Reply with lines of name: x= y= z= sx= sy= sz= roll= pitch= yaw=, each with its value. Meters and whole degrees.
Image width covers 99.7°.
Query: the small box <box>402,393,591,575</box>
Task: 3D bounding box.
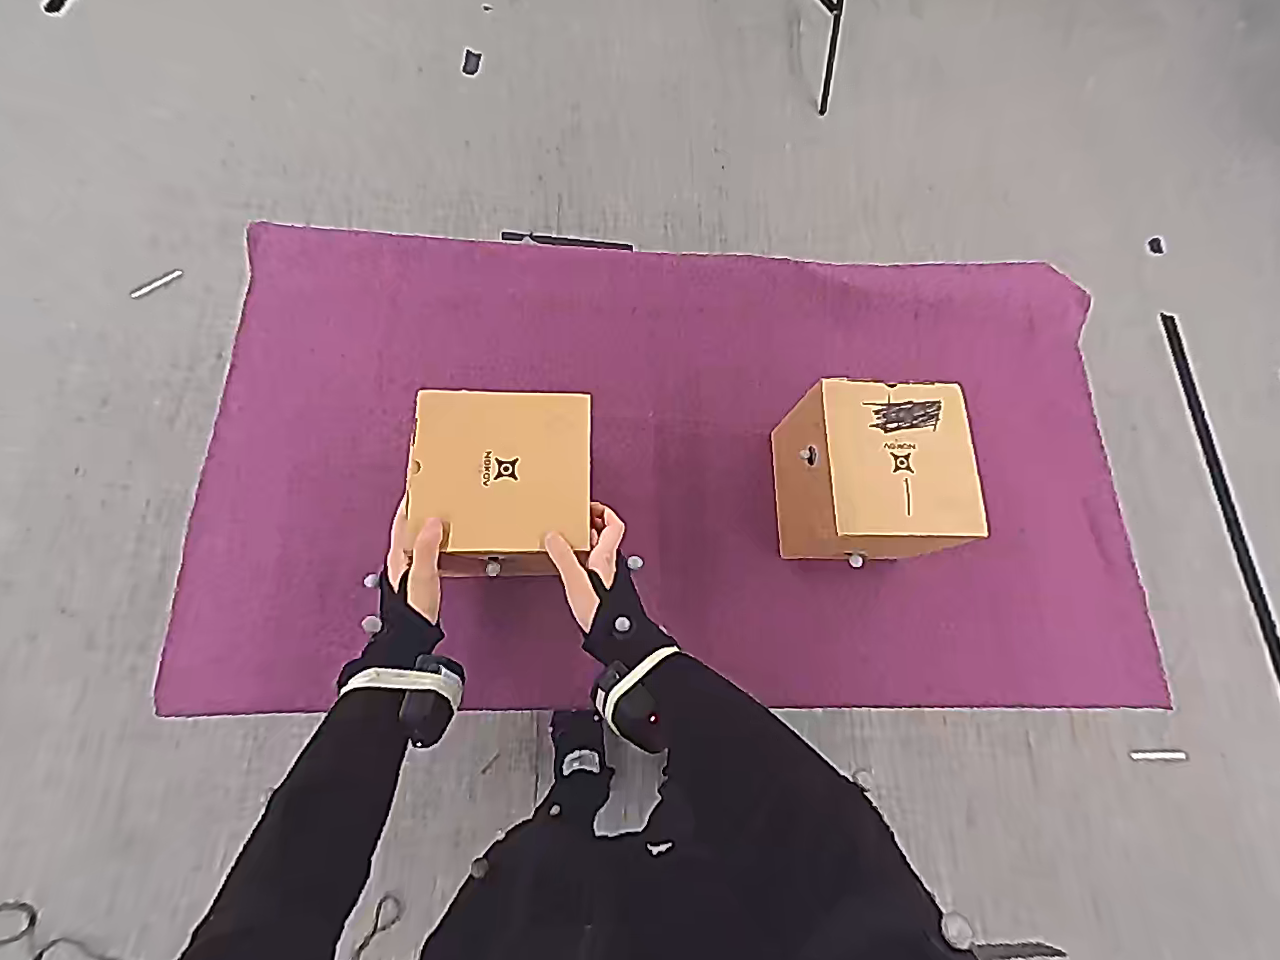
small box: x=-0.145 y=0.014 z=0.608 sx=0.179 sy=0.176 sz=0.168 roll=0 pitch=73 yaw=-5

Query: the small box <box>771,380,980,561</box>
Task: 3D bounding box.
small box: x=0.266 y=-0.003 z=0.655 sx=0.168 sy=0.176 sz=0.179 roll=1 pitch=74 yaw=-5
